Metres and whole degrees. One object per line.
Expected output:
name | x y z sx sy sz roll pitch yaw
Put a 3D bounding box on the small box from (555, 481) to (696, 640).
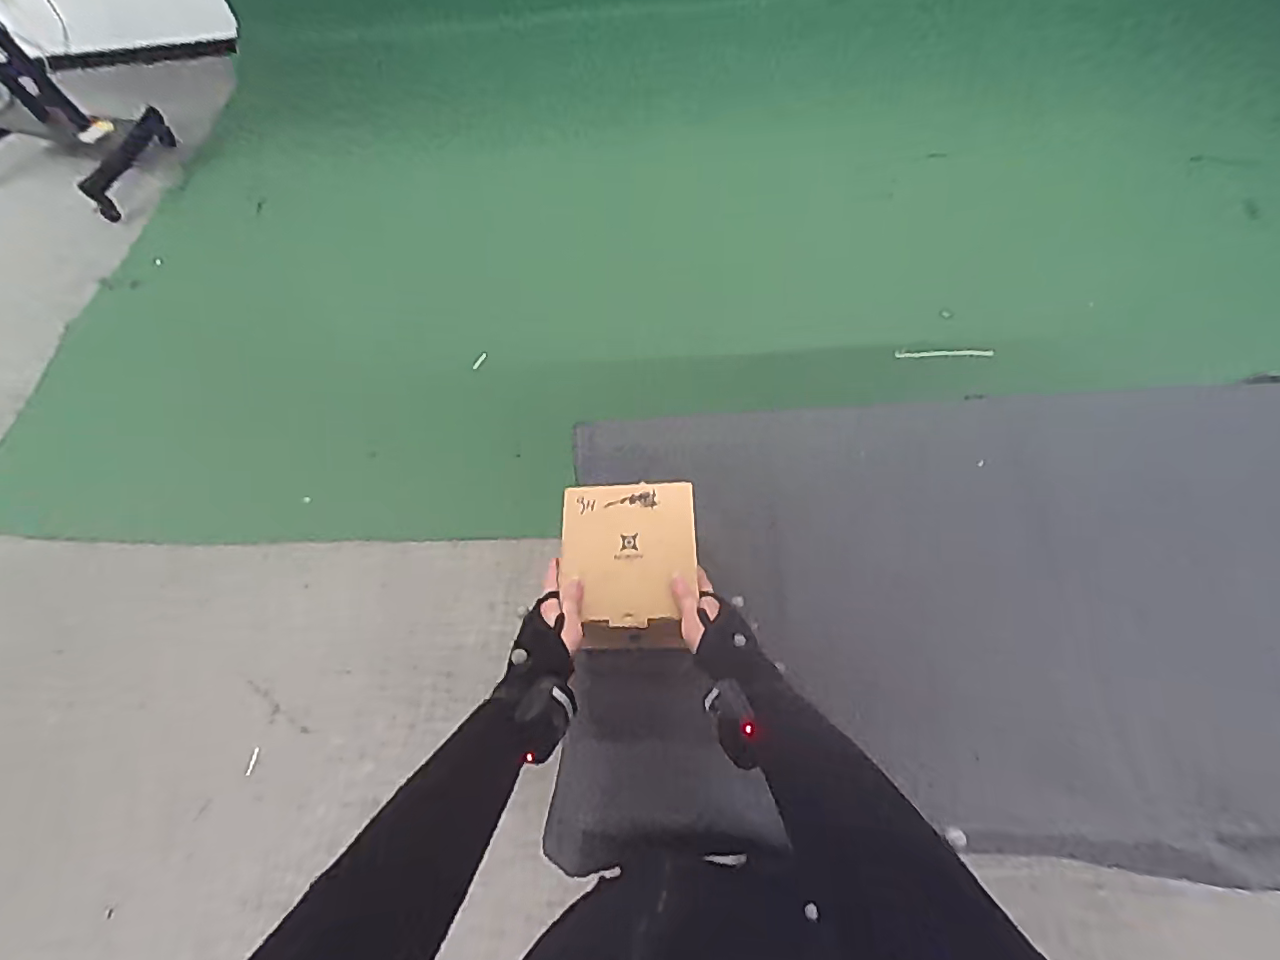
small box | -0.011 0.115 0.720 0.168 0.176 0.179 -2 64 2
